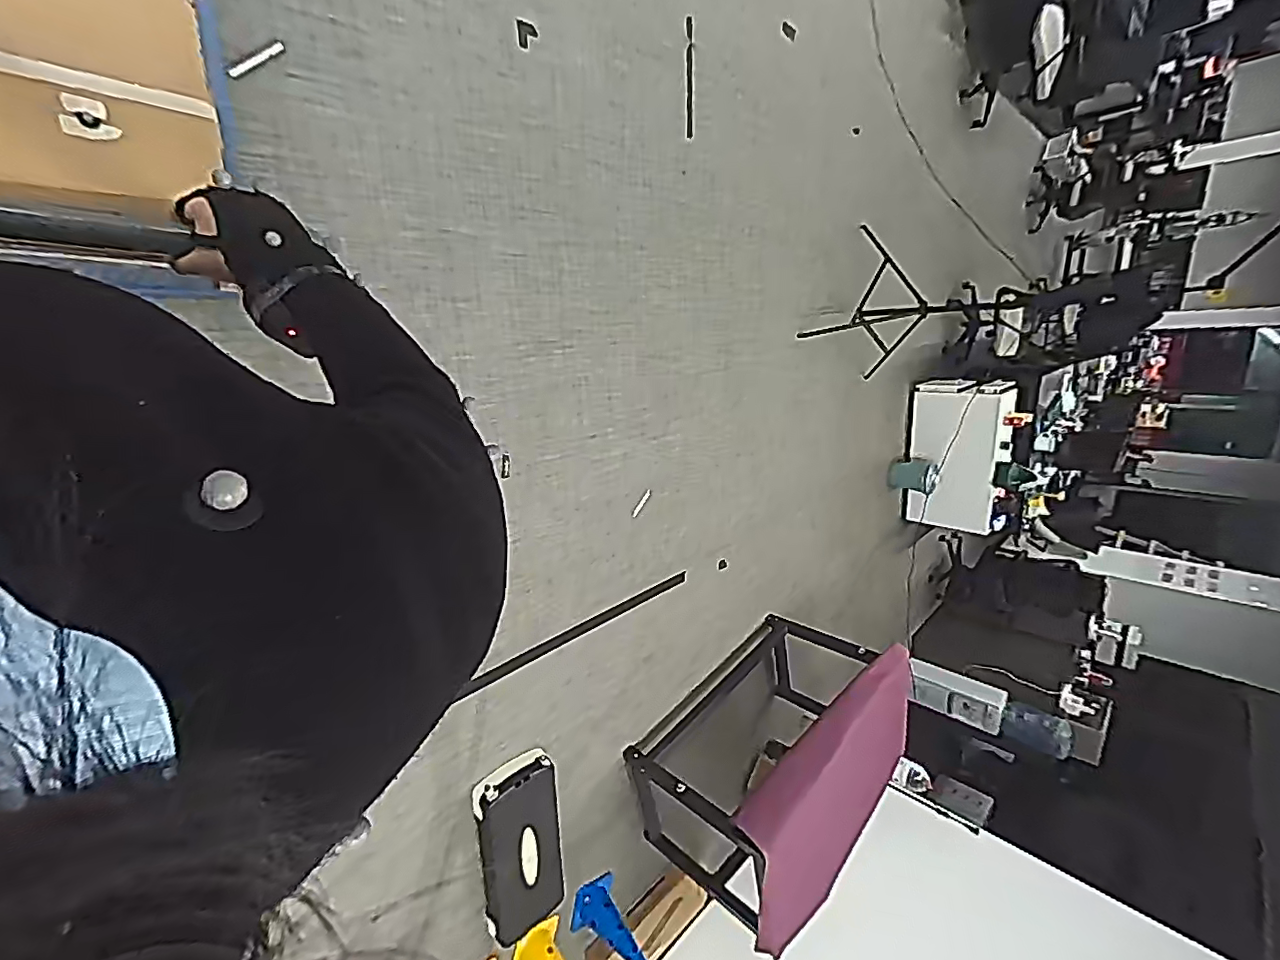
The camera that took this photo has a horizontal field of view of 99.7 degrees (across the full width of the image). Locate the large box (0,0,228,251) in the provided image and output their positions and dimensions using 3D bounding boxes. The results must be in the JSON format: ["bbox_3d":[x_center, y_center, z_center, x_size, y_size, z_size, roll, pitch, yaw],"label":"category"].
[{"bbox_3d":[-0.876,-0.526,0.756,0.408,0.320,0.320,-13,108,-44],"label":"large box"}]
